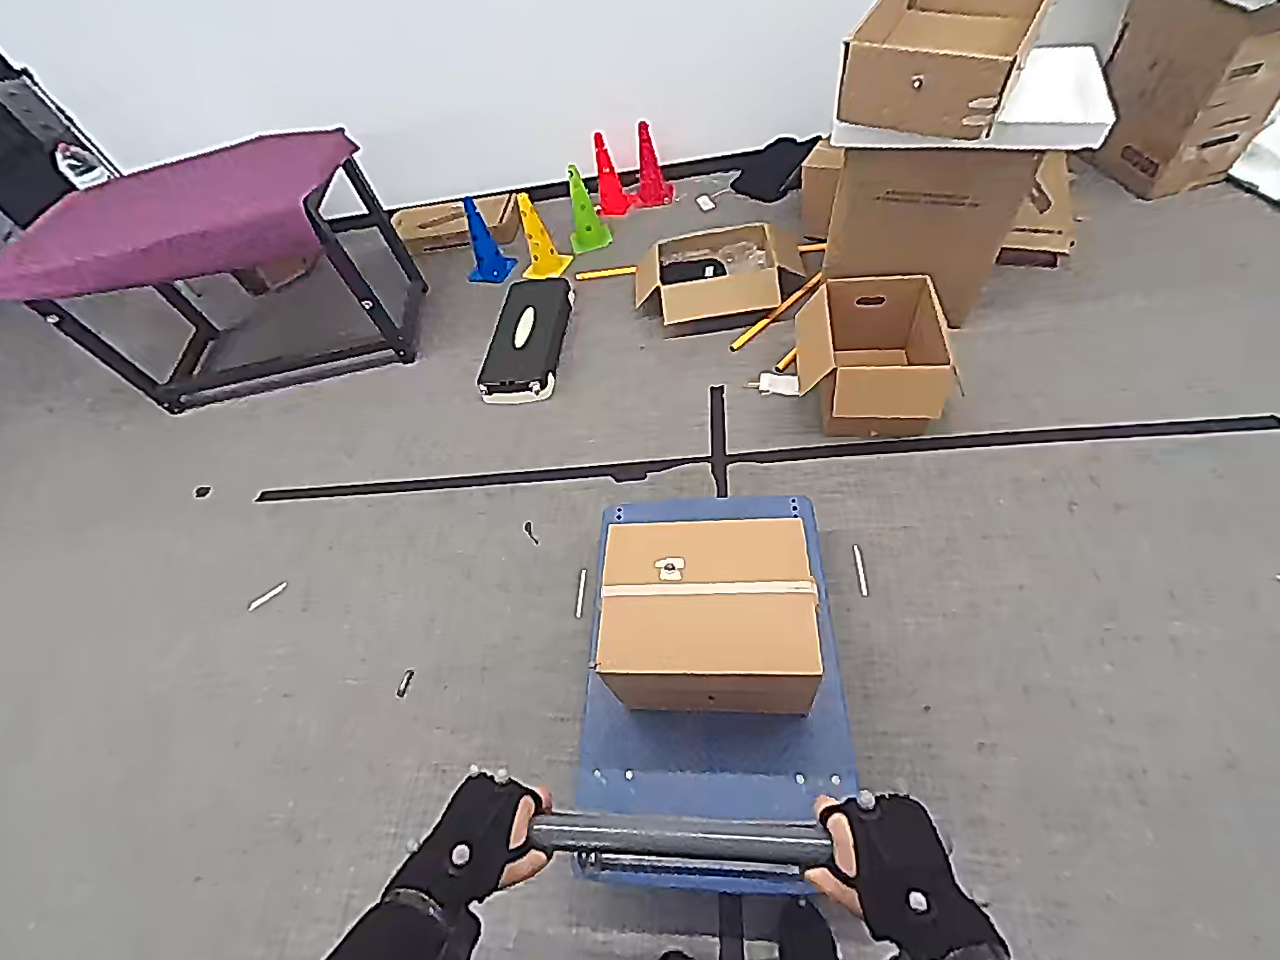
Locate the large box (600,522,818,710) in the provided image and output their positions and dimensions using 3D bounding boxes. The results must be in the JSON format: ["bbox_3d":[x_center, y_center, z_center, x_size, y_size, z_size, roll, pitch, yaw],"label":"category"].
[{"bbox_3d":[0.152,0.310,1.182,0.408,0.320,0.320,-4,54,10],"label":"large box"}]
